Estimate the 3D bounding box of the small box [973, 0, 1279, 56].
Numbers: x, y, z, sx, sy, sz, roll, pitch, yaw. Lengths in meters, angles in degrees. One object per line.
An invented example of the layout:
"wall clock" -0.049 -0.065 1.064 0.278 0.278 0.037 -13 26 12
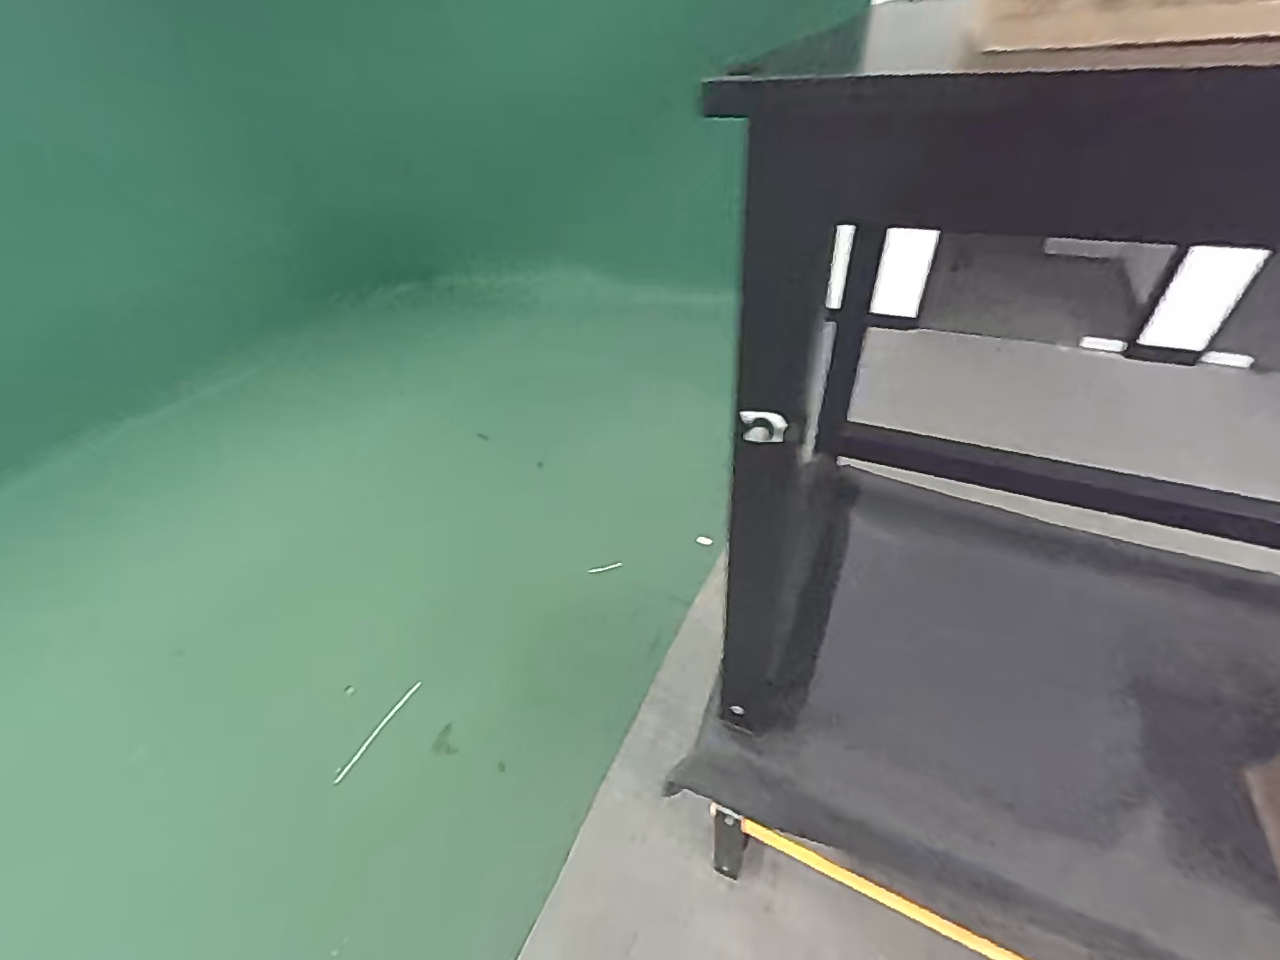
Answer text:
"small box" 0.271 -0.305 0.245 0.168 0.176 0.179 12 44 18
